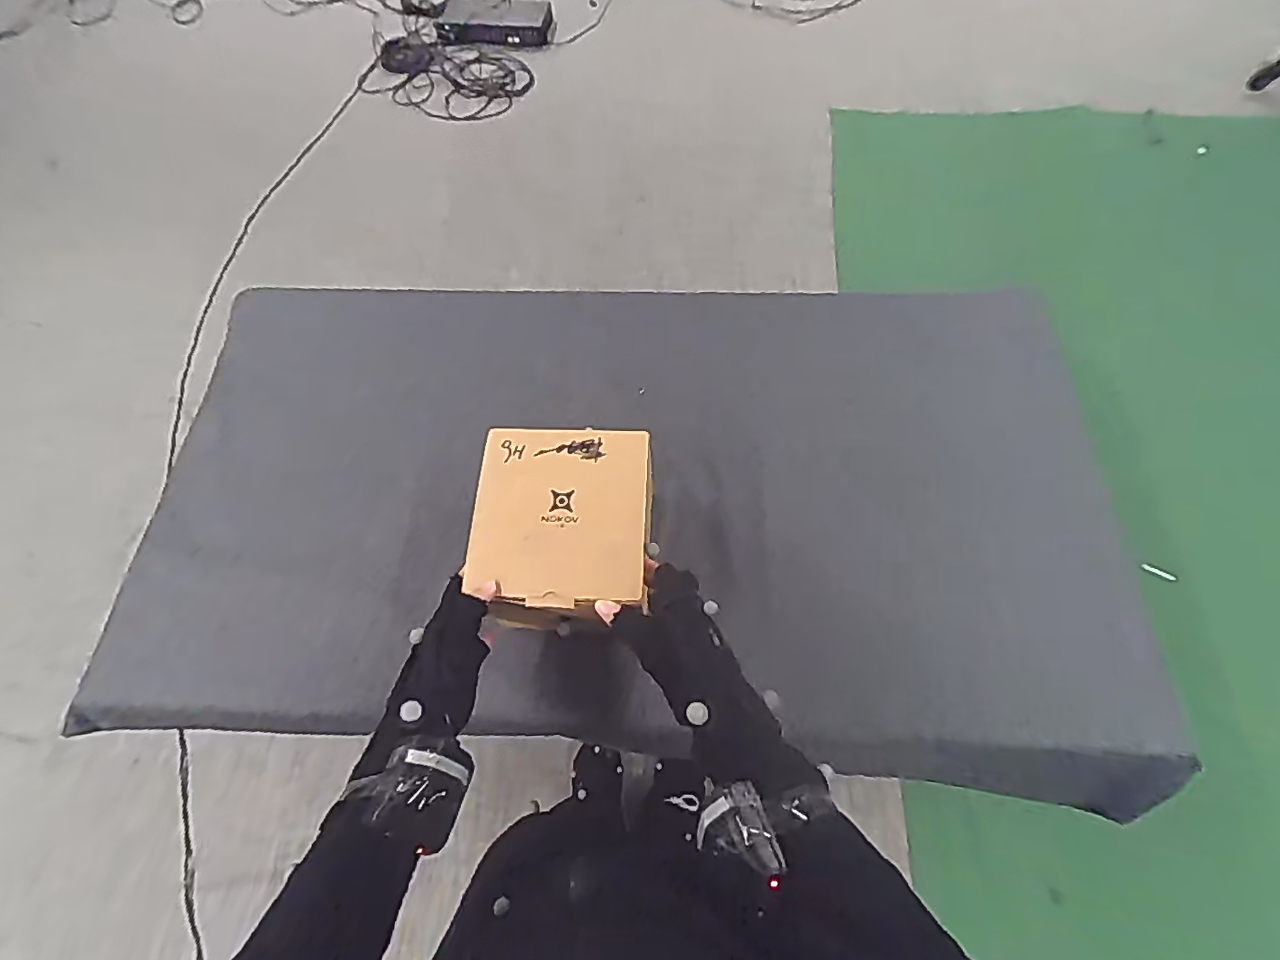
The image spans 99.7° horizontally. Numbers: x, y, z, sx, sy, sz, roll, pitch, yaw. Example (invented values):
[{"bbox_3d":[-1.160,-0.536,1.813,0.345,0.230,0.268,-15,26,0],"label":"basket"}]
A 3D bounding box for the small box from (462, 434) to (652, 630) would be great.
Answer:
[{"bbox_3d":[-0.074,0.065,0.590,0.168,0.176,0.179,2,67,3],"label":"small box"}]
